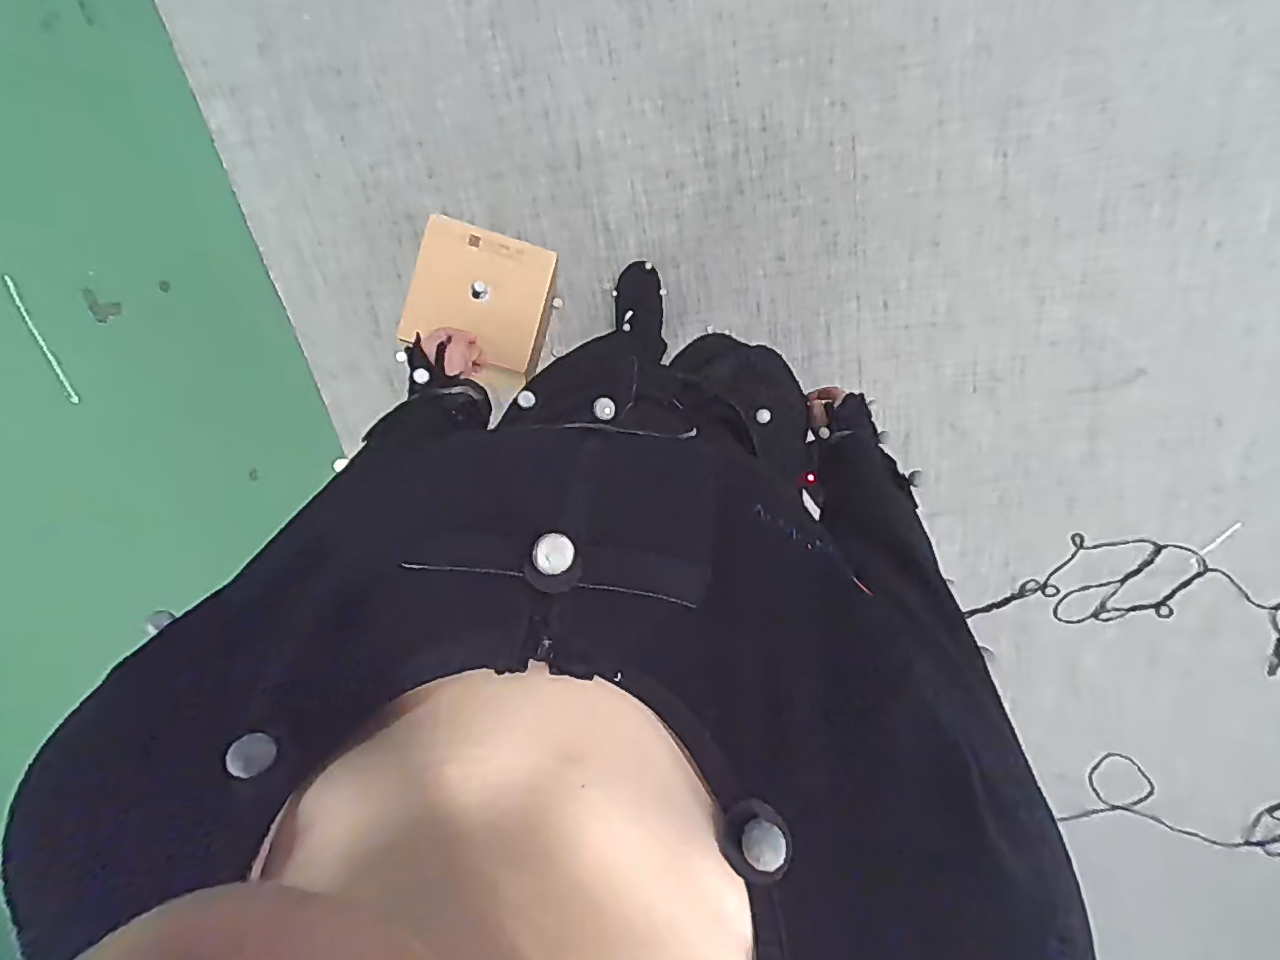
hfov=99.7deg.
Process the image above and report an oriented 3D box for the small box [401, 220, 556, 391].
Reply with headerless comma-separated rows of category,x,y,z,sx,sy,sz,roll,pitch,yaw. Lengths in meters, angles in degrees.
small box,-0.219,-0.238,0.768,0.168,0.179,0.176,13,89,-10
